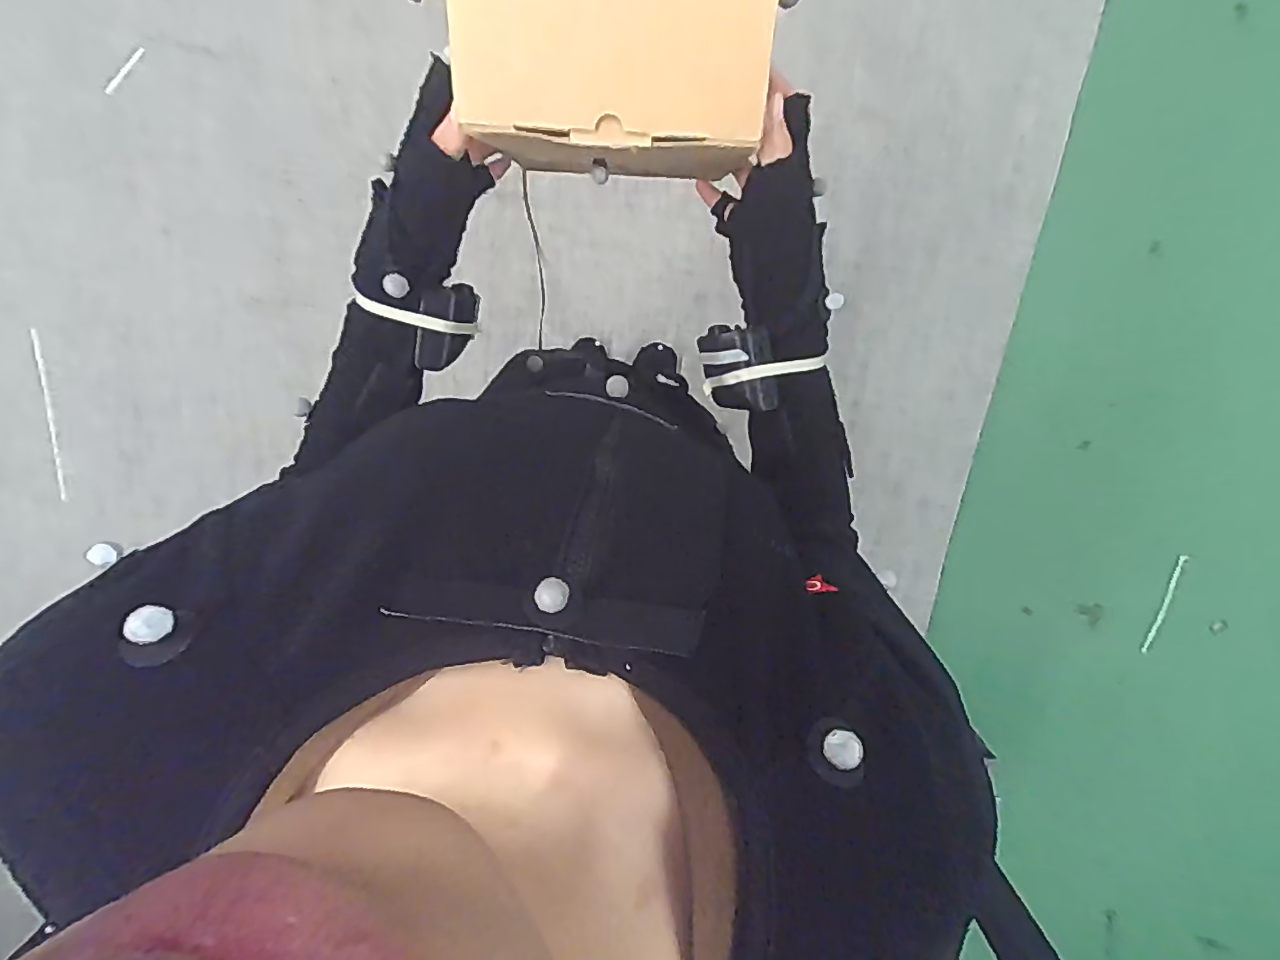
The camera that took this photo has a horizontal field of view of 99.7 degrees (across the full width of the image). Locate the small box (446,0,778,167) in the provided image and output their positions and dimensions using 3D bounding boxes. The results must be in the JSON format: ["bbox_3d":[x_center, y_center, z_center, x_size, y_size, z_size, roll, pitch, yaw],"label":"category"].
[{"bbox_3d":[-0.011,-0.300,0.322,0.168,0.176,0.179,3,115,0],"label":"small box"}]
